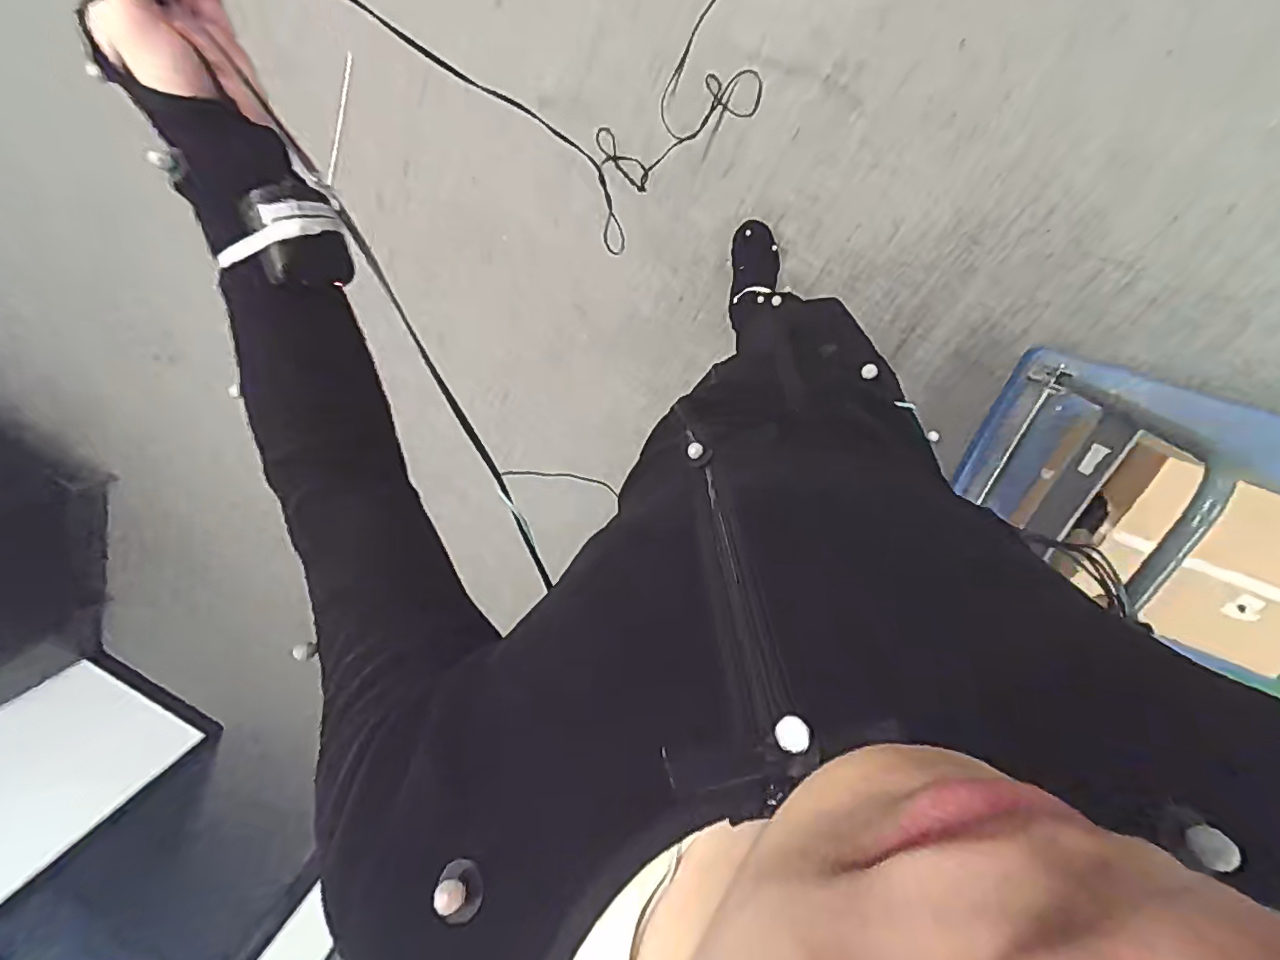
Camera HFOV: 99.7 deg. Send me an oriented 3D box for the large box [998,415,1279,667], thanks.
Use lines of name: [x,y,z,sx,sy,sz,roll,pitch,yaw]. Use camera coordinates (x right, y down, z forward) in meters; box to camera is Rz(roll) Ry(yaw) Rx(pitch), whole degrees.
large box: [1.063,0.102,1.110,0.408,0.320,0.320,22,116,5]
